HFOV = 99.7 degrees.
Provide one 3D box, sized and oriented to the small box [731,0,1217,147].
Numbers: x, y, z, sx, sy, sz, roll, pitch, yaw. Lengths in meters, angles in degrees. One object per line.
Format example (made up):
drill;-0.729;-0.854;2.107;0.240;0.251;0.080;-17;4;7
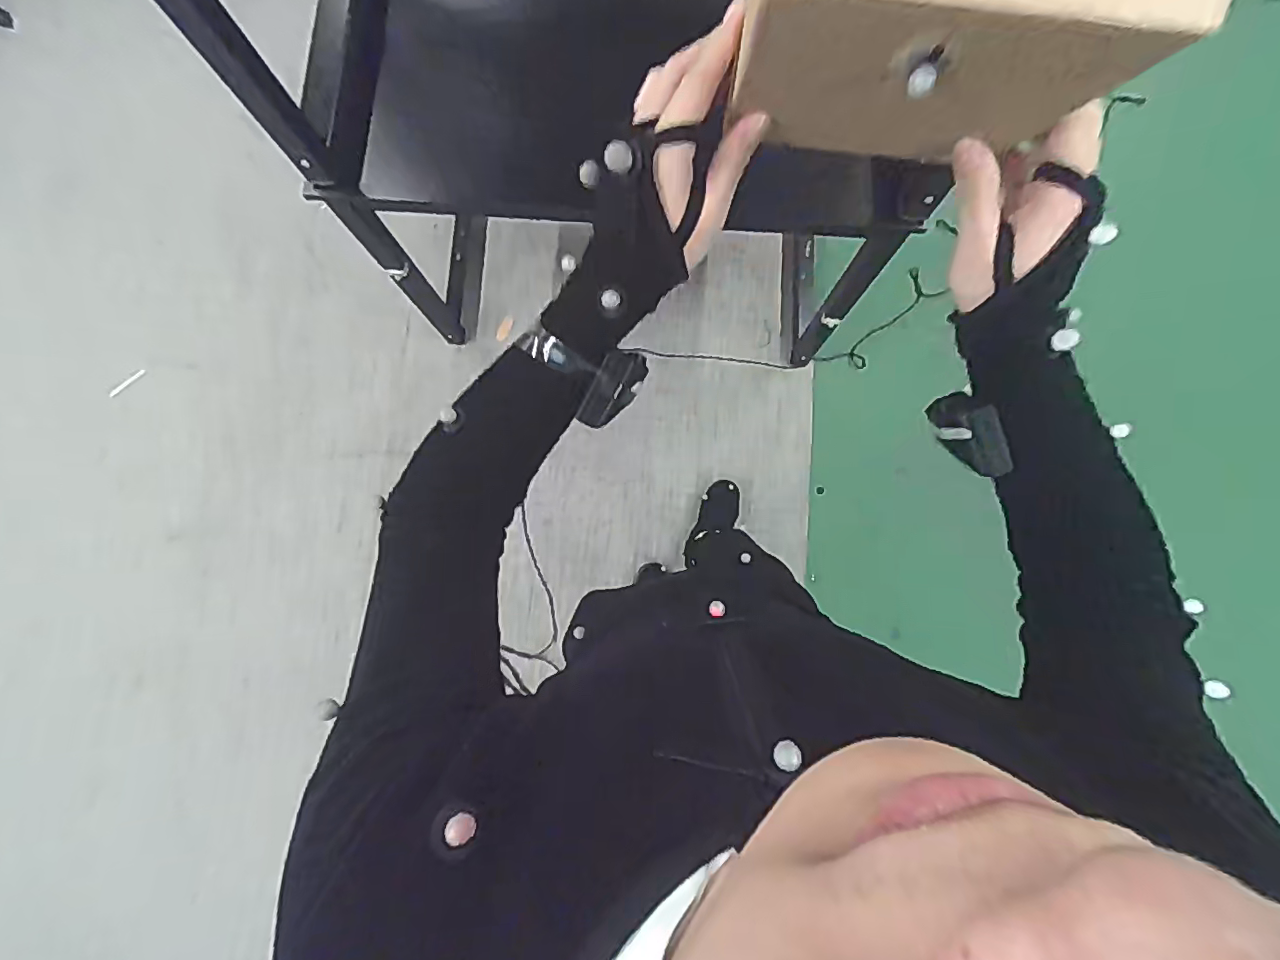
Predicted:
small box;0.146;-0.284;0.260;0.179;0.176;0.168;8;106;1
